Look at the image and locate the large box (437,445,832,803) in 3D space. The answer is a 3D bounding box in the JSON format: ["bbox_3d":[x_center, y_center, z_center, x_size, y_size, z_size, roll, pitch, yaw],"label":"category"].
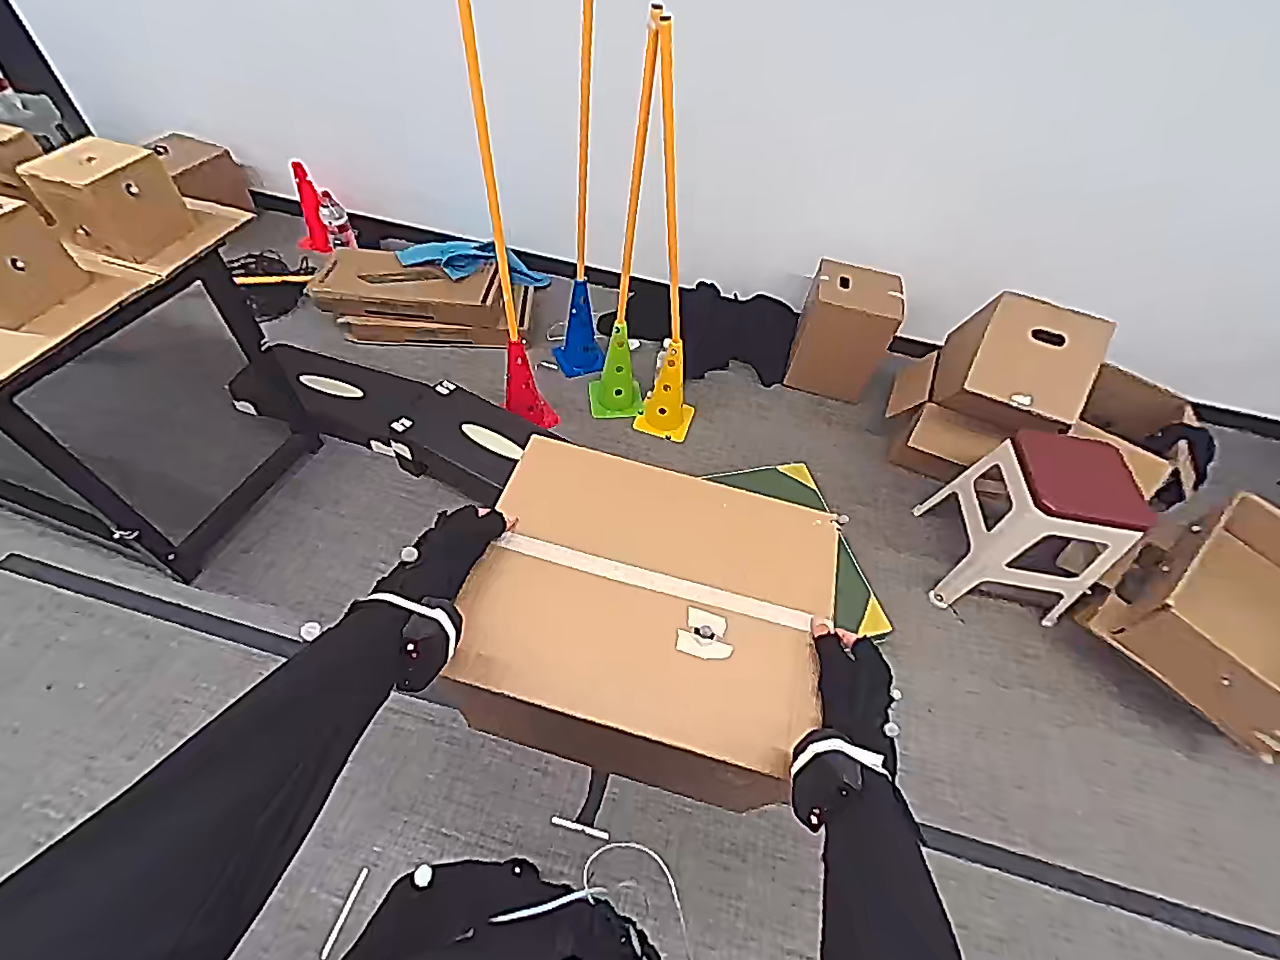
[{"bbox_3d":[0.002,0.205,0.740,0.408,0.320,0.320,16,56,4],"label":"large box"}]
